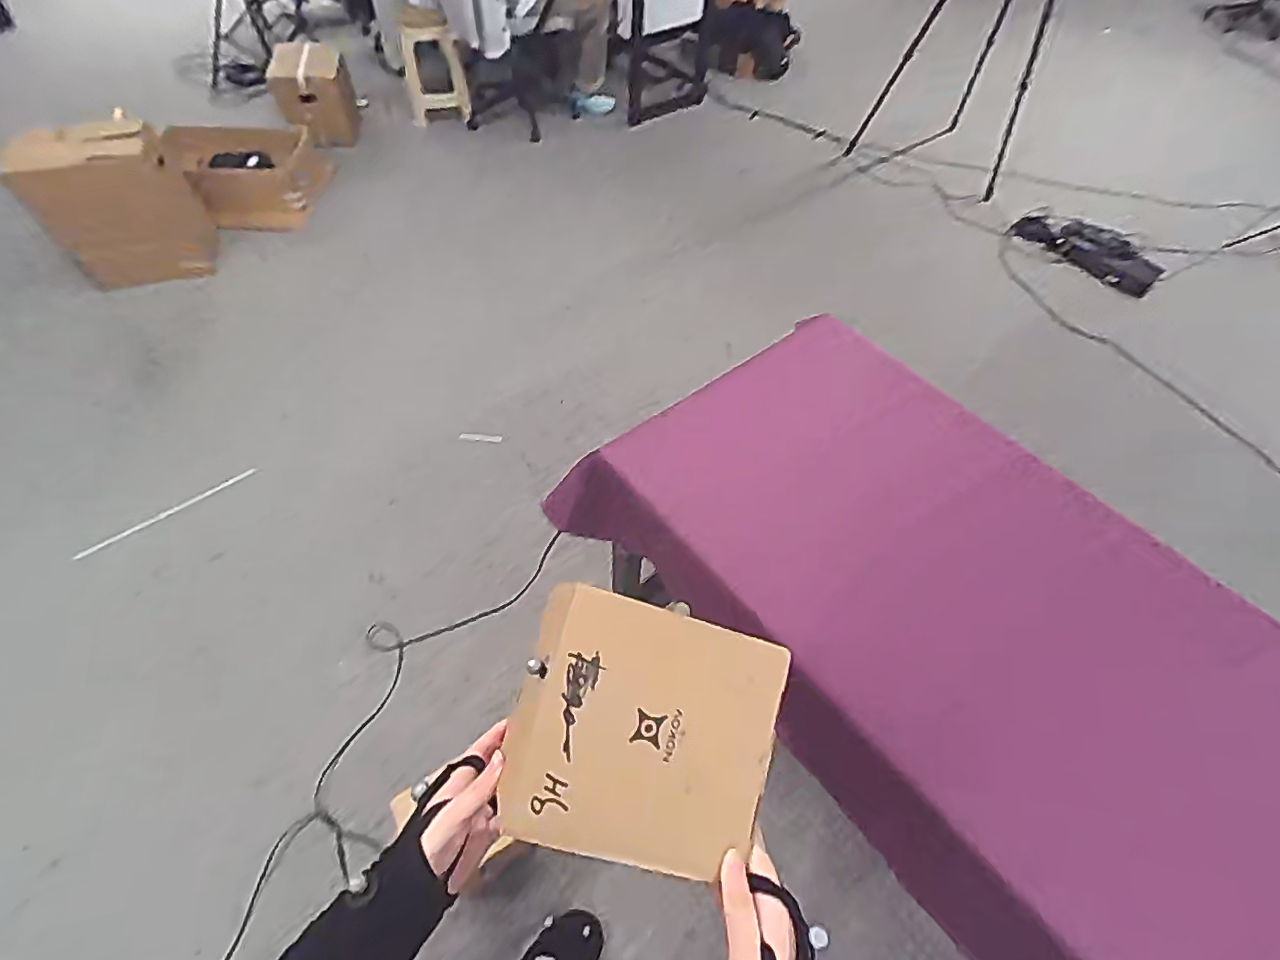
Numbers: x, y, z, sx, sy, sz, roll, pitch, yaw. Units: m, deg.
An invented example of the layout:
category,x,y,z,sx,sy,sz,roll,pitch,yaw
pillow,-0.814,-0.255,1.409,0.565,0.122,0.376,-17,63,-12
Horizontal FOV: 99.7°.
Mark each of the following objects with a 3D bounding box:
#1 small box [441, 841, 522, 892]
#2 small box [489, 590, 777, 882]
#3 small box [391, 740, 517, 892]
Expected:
category,x,y,z,sx,sy,sz,roll,pitch,yaw
small box,-0.346,0.725,1.143,0.179,0.176,0.168,-30,63,-22
small box,-0.016,0.195,0.457,0.179,0.176,0.168,20,73,-12
small box,-0.335,0.625,1.012,0.168,0.176,0.179,-27,63,-20
